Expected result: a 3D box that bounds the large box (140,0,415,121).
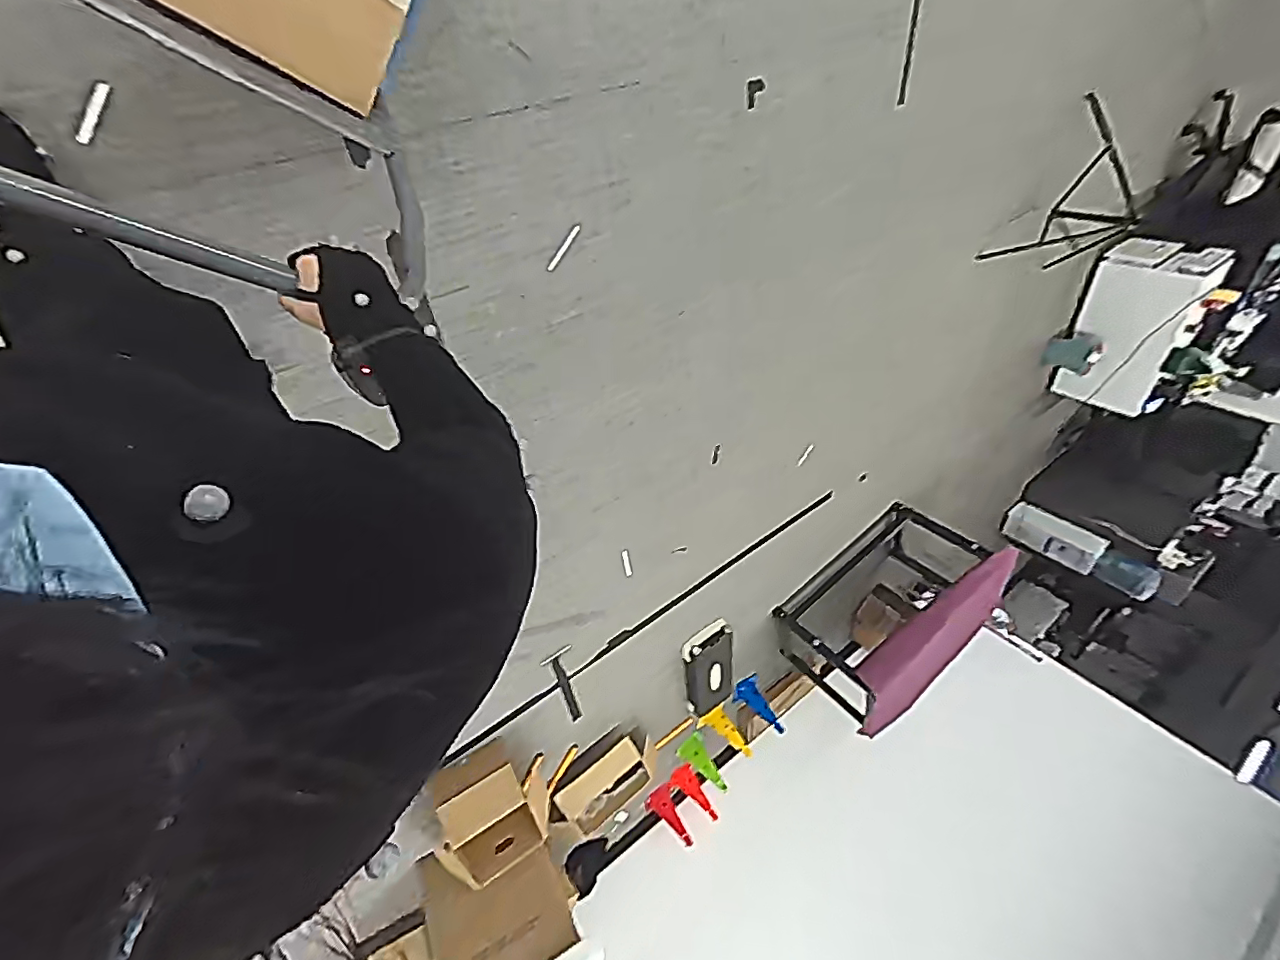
[{"bbox_3d":[-0.502,-0.744,0.646,0.408,0.320,0.320,10,132,-45],"label":"large box"}]
